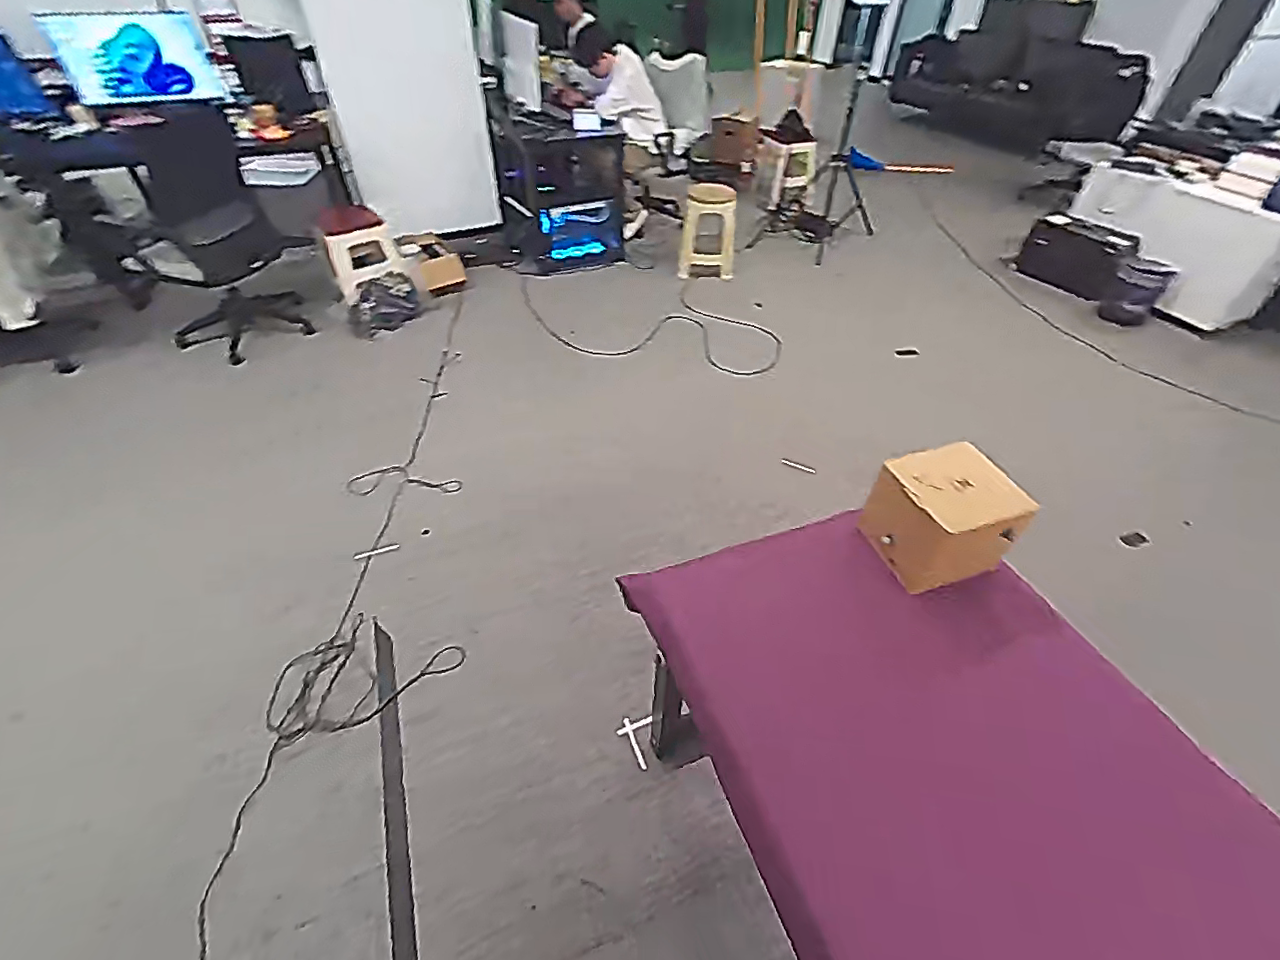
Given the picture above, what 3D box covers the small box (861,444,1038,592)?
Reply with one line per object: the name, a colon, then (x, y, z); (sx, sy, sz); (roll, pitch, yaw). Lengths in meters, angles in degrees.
small box: (0.517, 0.066, 0.933); (0.179, 0.176, 0.168); (-14, 47, -12)
